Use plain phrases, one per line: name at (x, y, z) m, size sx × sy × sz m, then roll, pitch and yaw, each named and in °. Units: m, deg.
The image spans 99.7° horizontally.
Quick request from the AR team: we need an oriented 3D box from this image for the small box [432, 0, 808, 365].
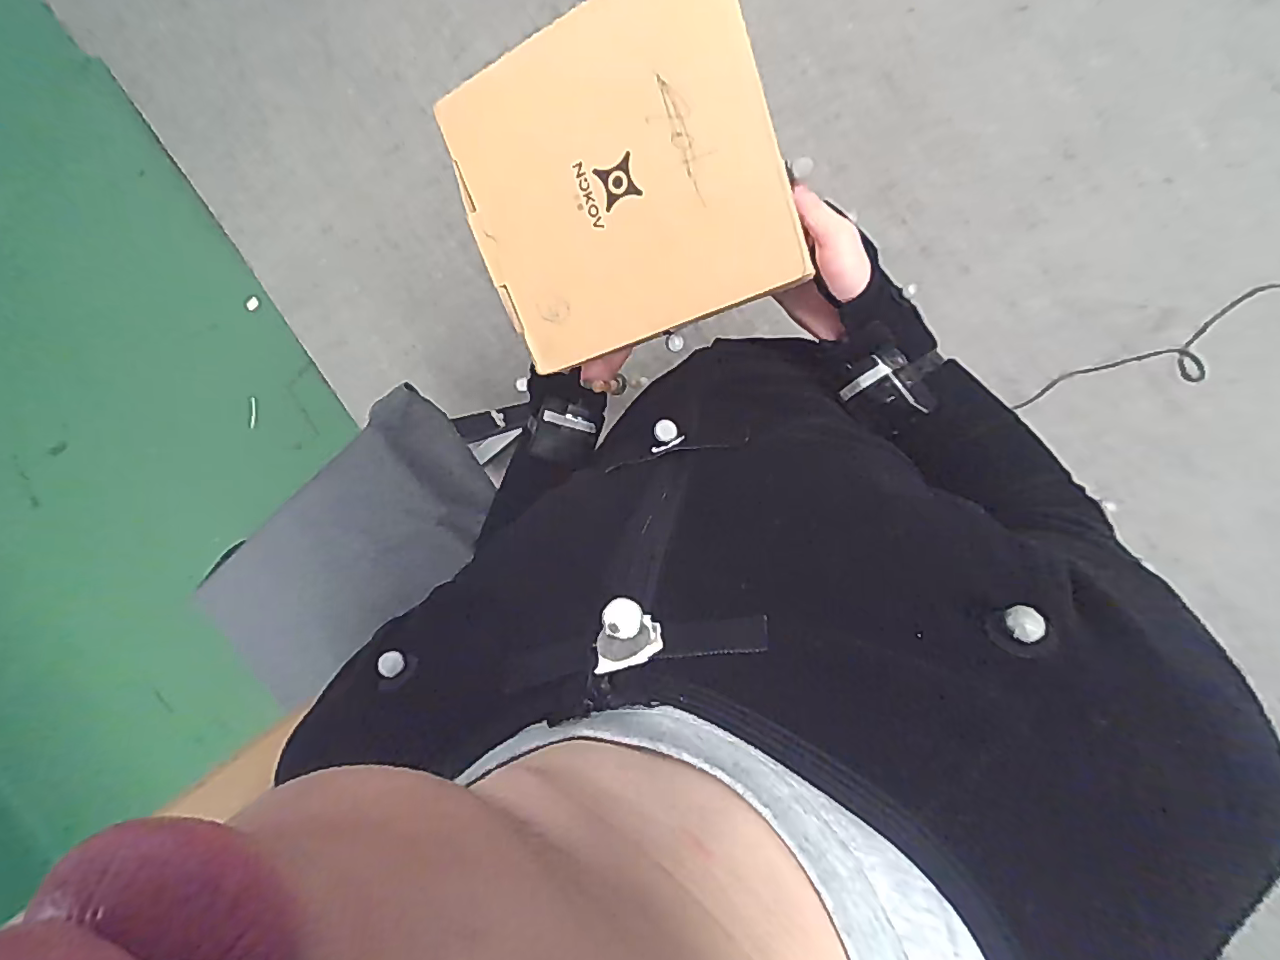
small box at (0.006, -0.191, 0.367) m, size 0.179 × 0.176 × 0.168 m, roll -16°, pitch 104°, yaw 22°
